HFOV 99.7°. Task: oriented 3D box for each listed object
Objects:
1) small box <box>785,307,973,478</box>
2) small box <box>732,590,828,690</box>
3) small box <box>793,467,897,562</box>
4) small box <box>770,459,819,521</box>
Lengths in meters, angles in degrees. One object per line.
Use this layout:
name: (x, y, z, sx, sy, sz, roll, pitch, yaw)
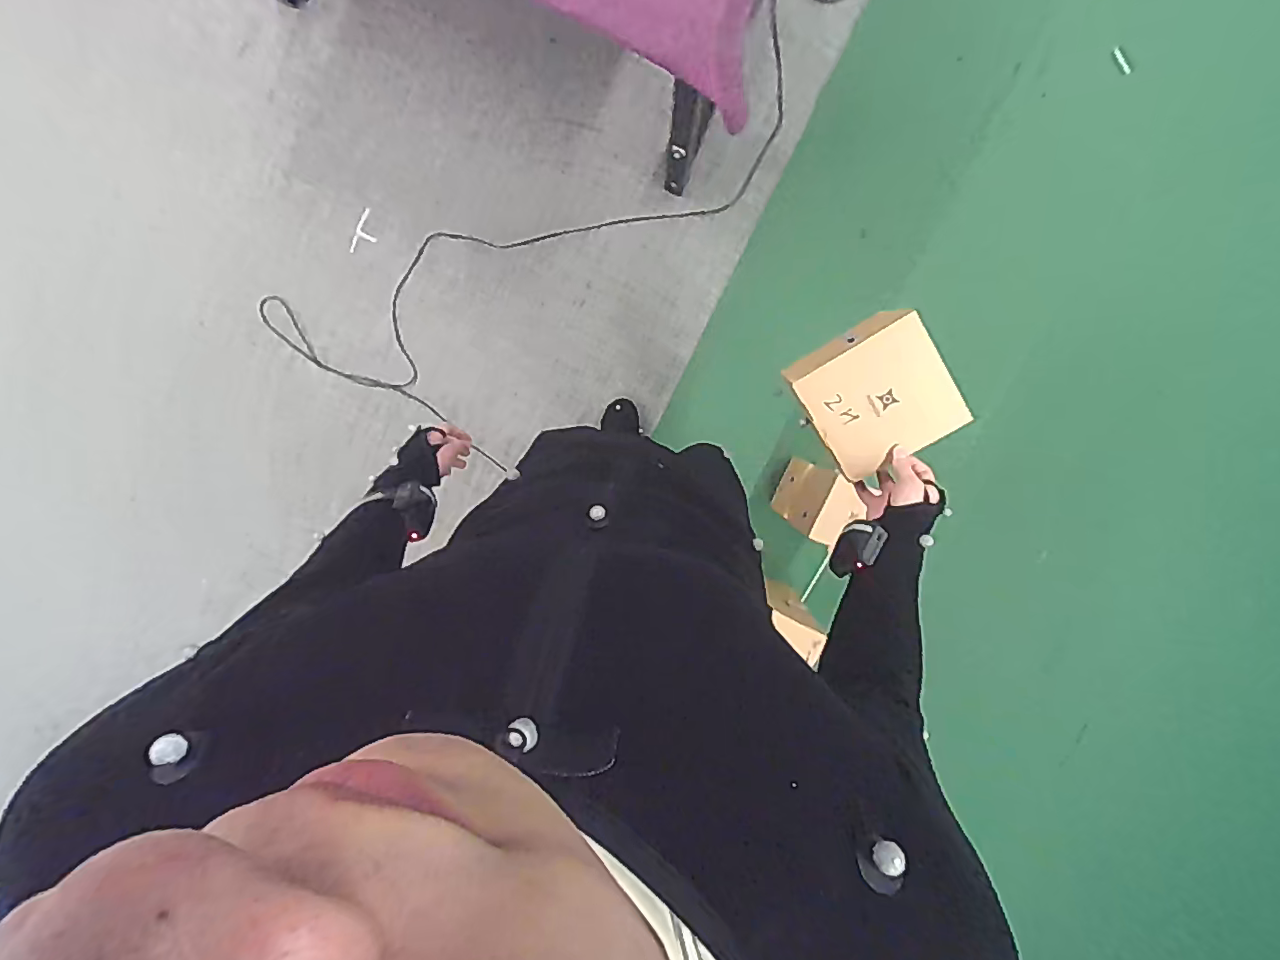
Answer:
small box: (0.329, -0.133, 0.782, 0.179, 0.176, 0.168, -31, 99, 18)
small box: (0.363, 0.415, 1.442, 0.179, 0.176, 0.168, 28, 99, -3)
small box: (0.515, 0.082, 1.393, 0.168, 0.176, 0.179, 23, 97, -5)
small box: (0.499, 0.049, 1.552, 0.179, 0.176, 0.168, 23, 98, -5)
